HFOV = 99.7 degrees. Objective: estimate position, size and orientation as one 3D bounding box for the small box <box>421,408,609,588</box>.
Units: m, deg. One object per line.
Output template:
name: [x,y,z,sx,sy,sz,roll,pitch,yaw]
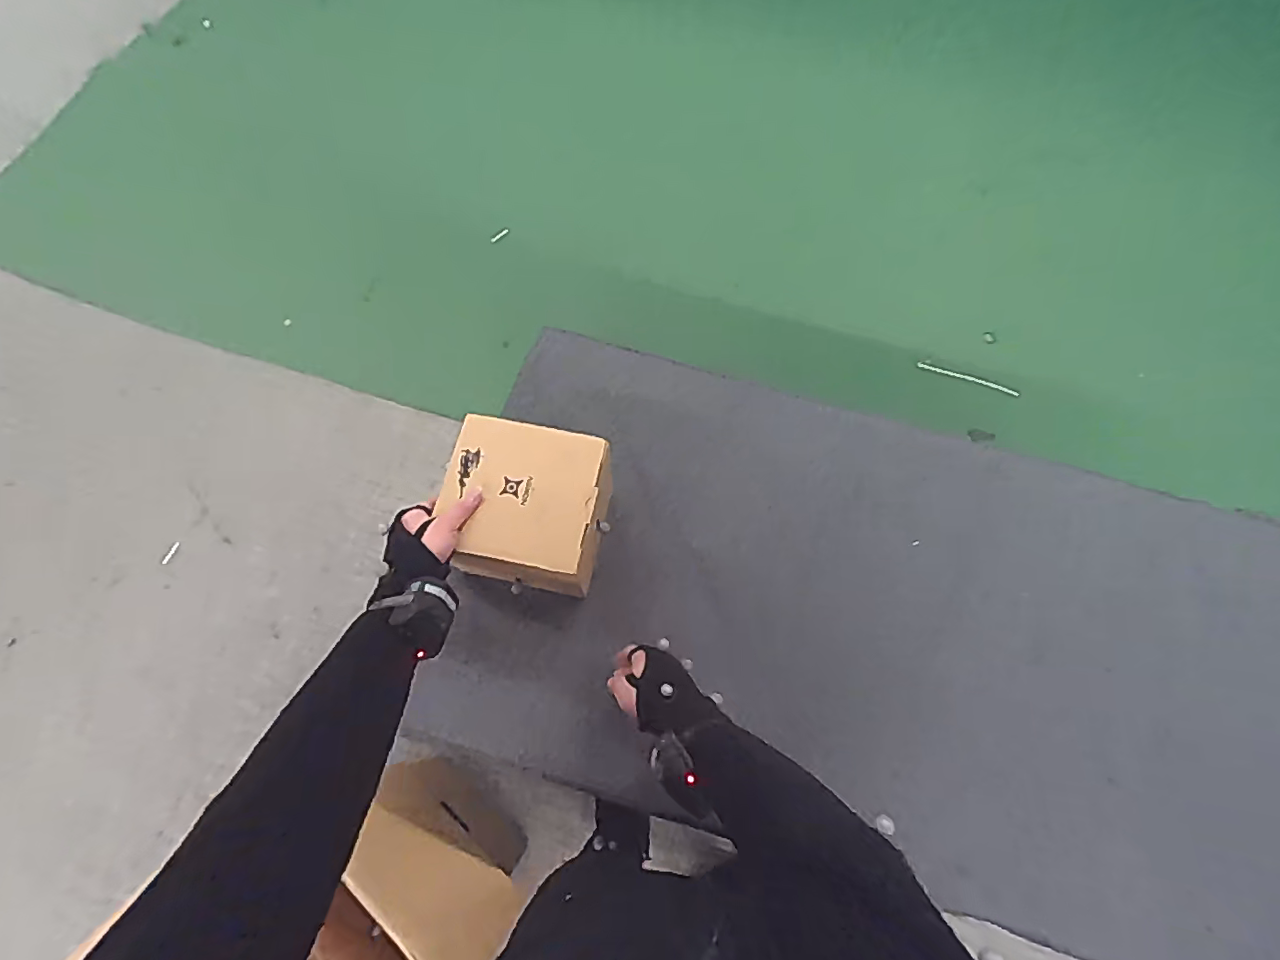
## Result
small box: [-0.142,0.034,0.687,0.179,0.176,0.168,12,70,1]
